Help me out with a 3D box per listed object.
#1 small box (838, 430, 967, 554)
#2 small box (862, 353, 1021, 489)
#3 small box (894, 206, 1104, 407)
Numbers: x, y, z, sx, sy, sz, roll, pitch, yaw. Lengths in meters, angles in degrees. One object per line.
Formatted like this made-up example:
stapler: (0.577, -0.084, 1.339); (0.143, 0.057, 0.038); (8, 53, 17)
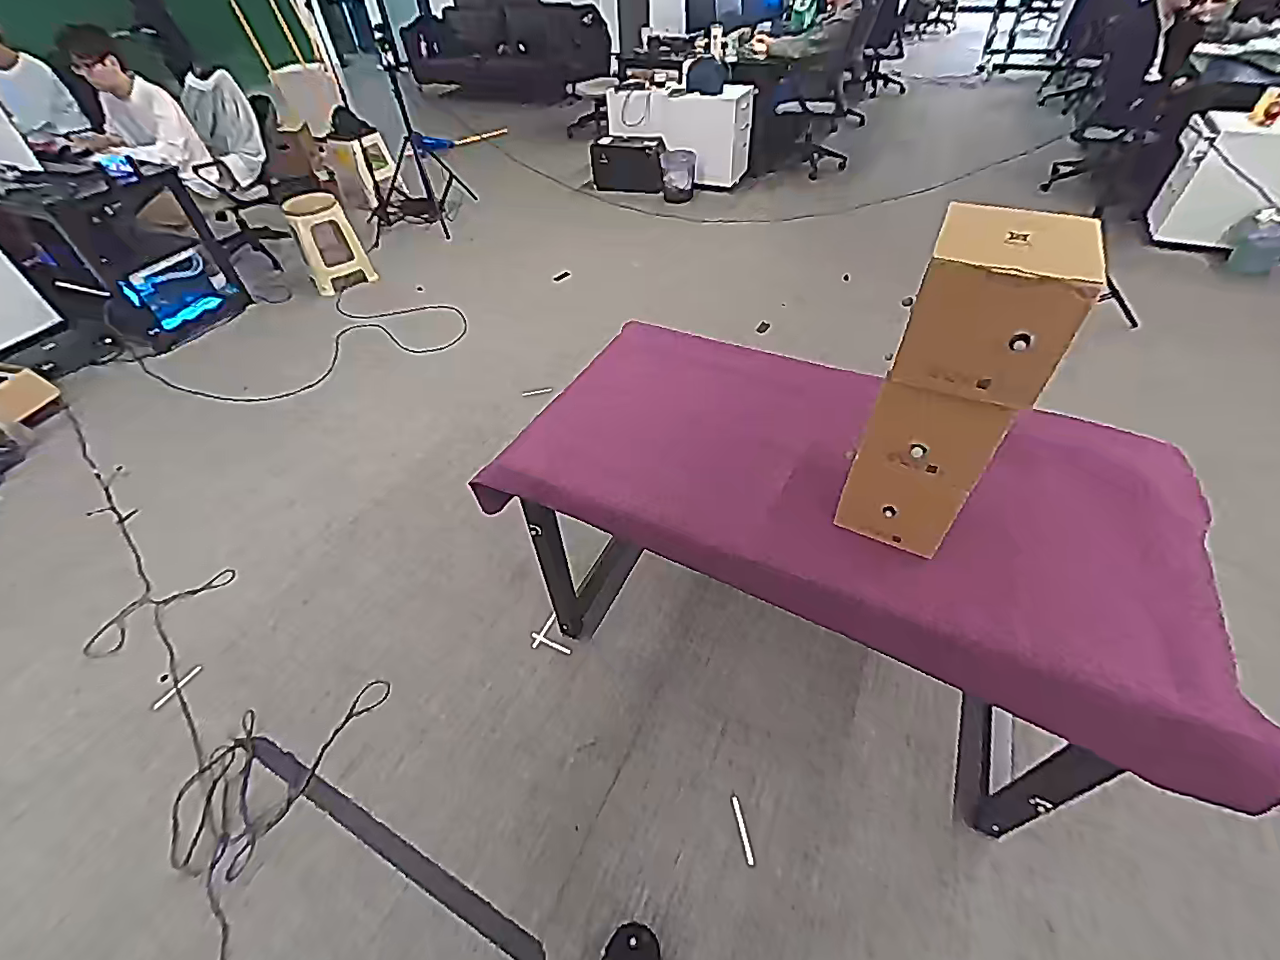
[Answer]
small box: (0.452, -0.004, 0.923); (0.168, 0.176, 0.179); (22, 51, 22)
small box: (0.450, -0.119, 0.807); (0.168, 0.176, 0.179); (21, 51, 22)
small box: (0.434, -0.216, 0.676); (0.168, 0.176, 0.179); (19, 50, 19)
